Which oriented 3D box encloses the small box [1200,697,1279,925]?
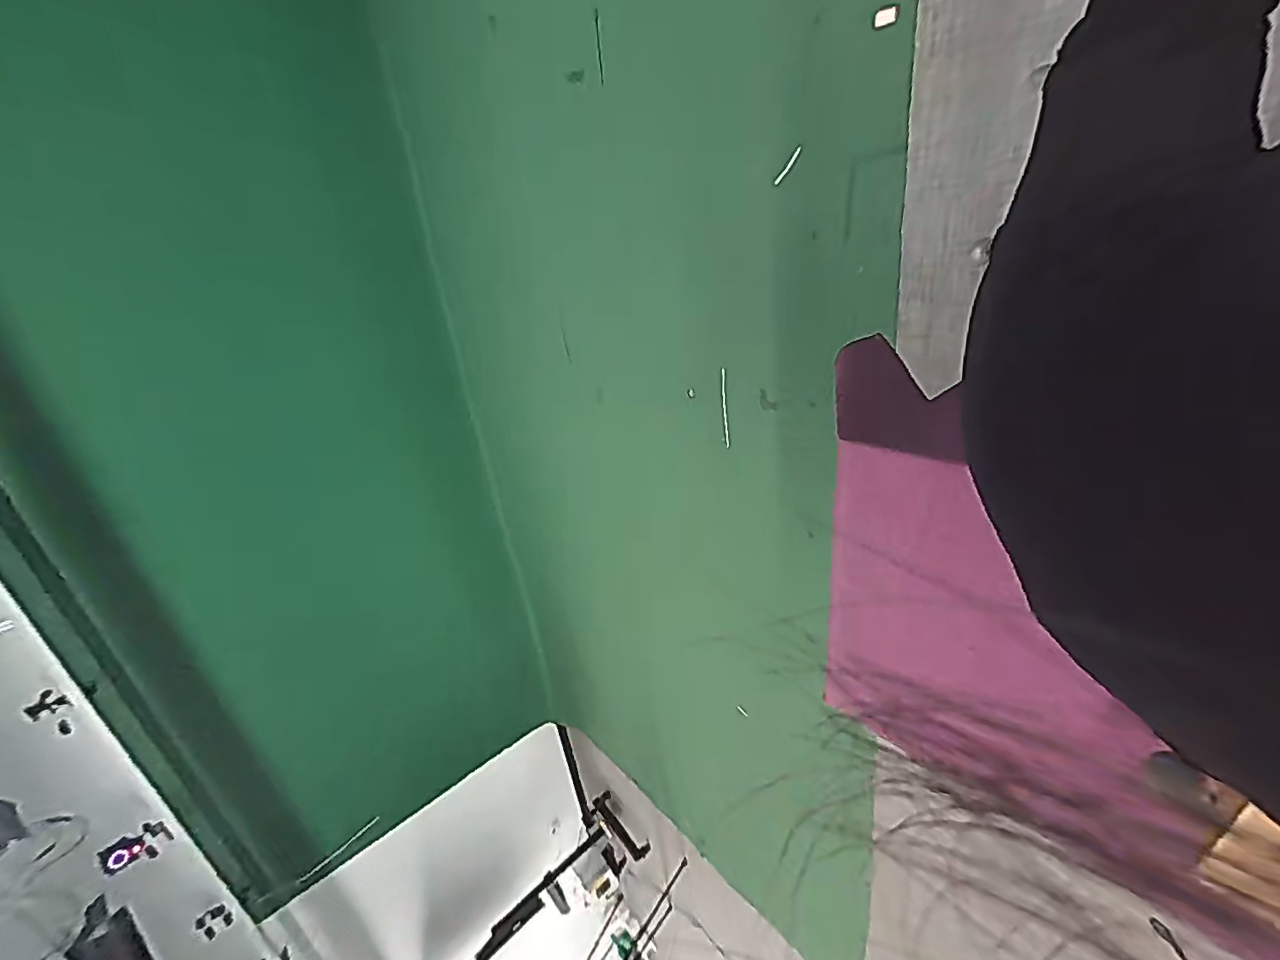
[{"bbox_3d":[0.692,0.336,0.512,0.168,0.176,0.179,25,130,43],"label":"small box"}]
